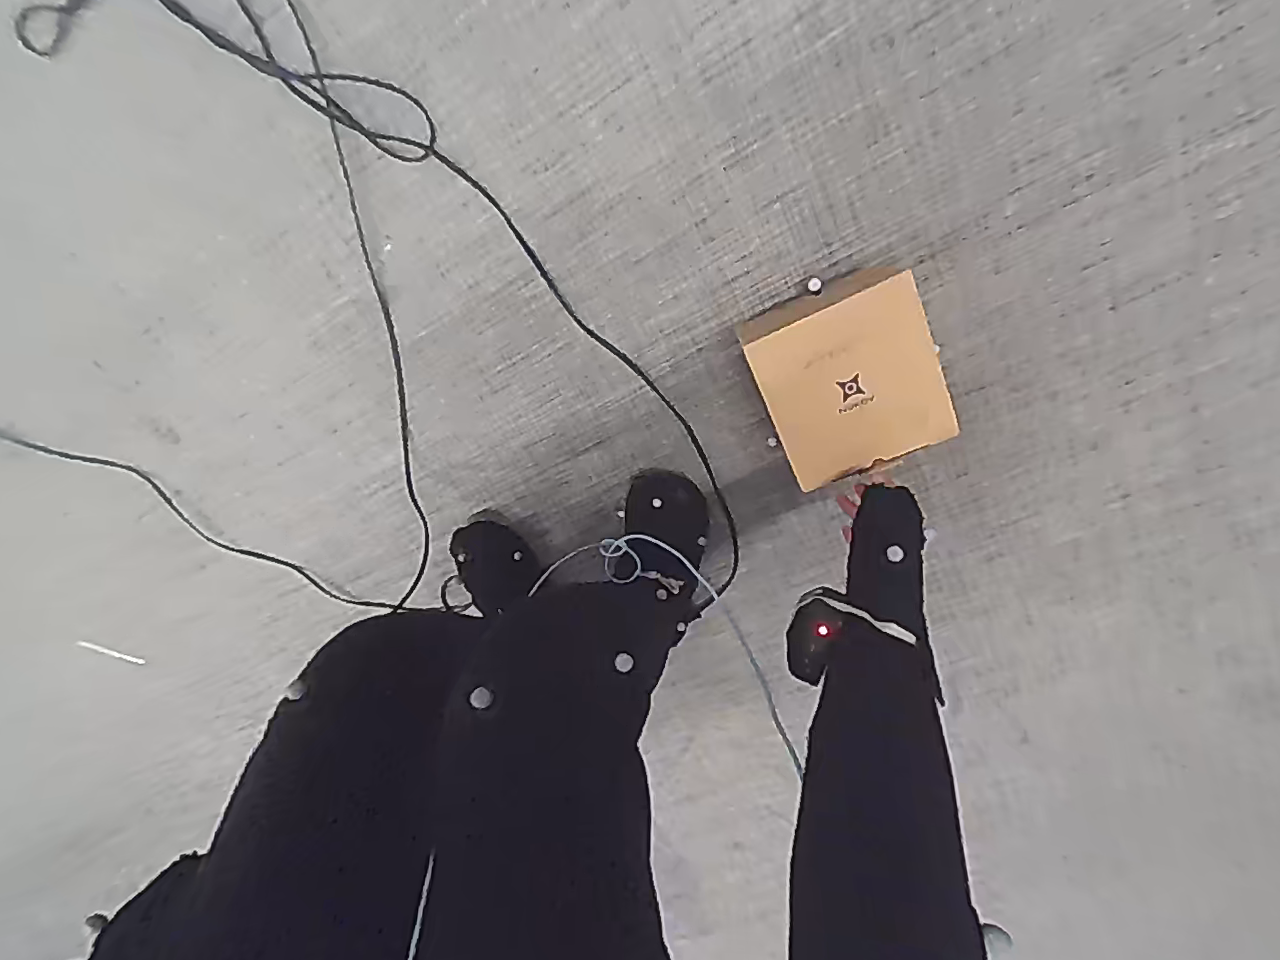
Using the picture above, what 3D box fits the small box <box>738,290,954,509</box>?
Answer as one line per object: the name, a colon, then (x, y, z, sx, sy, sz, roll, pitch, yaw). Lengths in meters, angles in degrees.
small box: (0.219, -0.098, 0.613, 0.168, 0.176, 0.179, -22, 107, 15)
